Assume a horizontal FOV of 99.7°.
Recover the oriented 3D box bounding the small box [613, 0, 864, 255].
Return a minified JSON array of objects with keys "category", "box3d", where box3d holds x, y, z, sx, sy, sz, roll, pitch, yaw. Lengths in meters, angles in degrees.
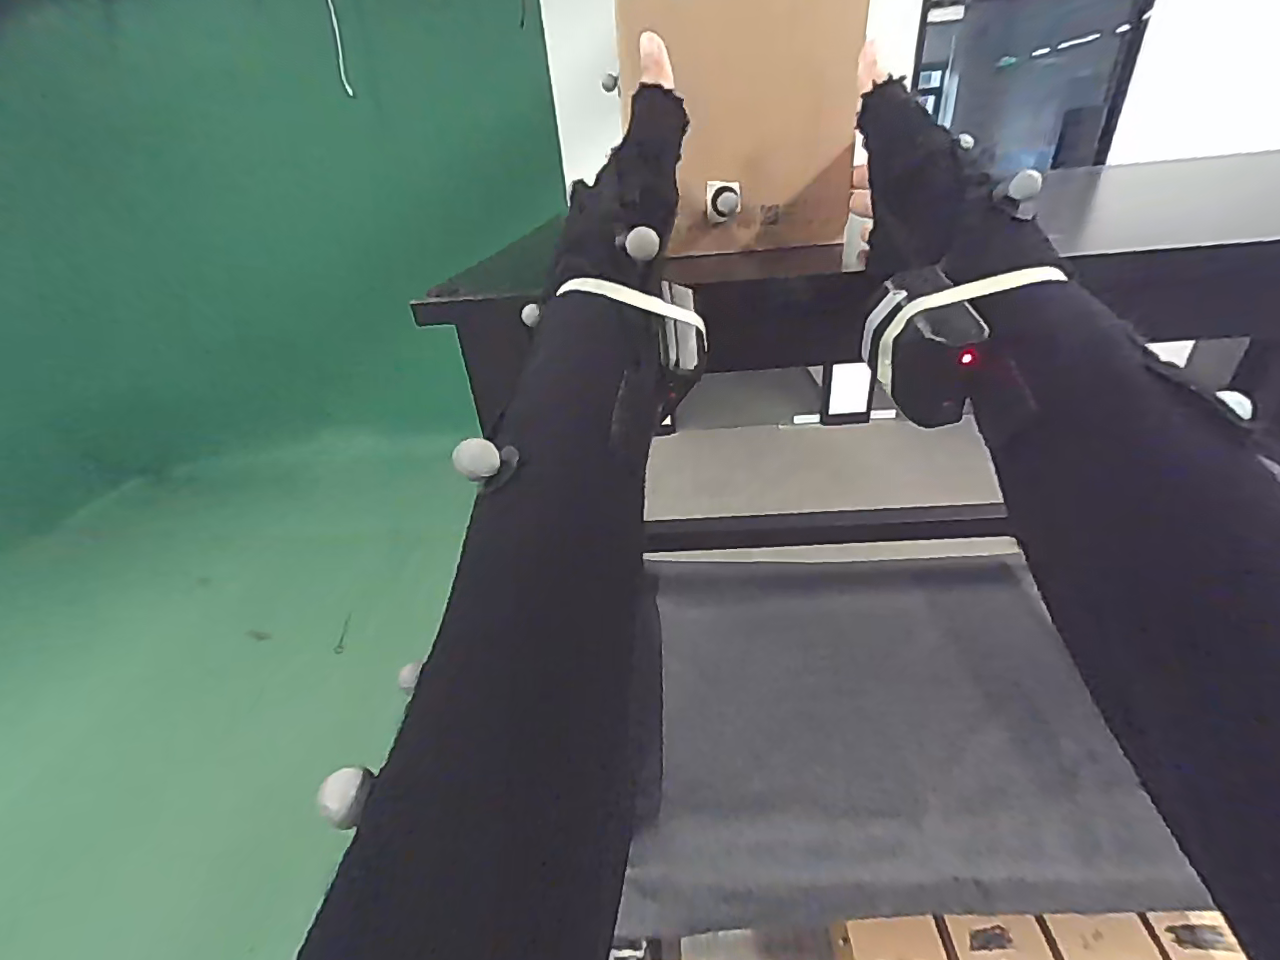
[{"category":"small box","box3d":[0.068,-0.292,0.457,0.168,0.176,0.179,-5,30,1]}]
